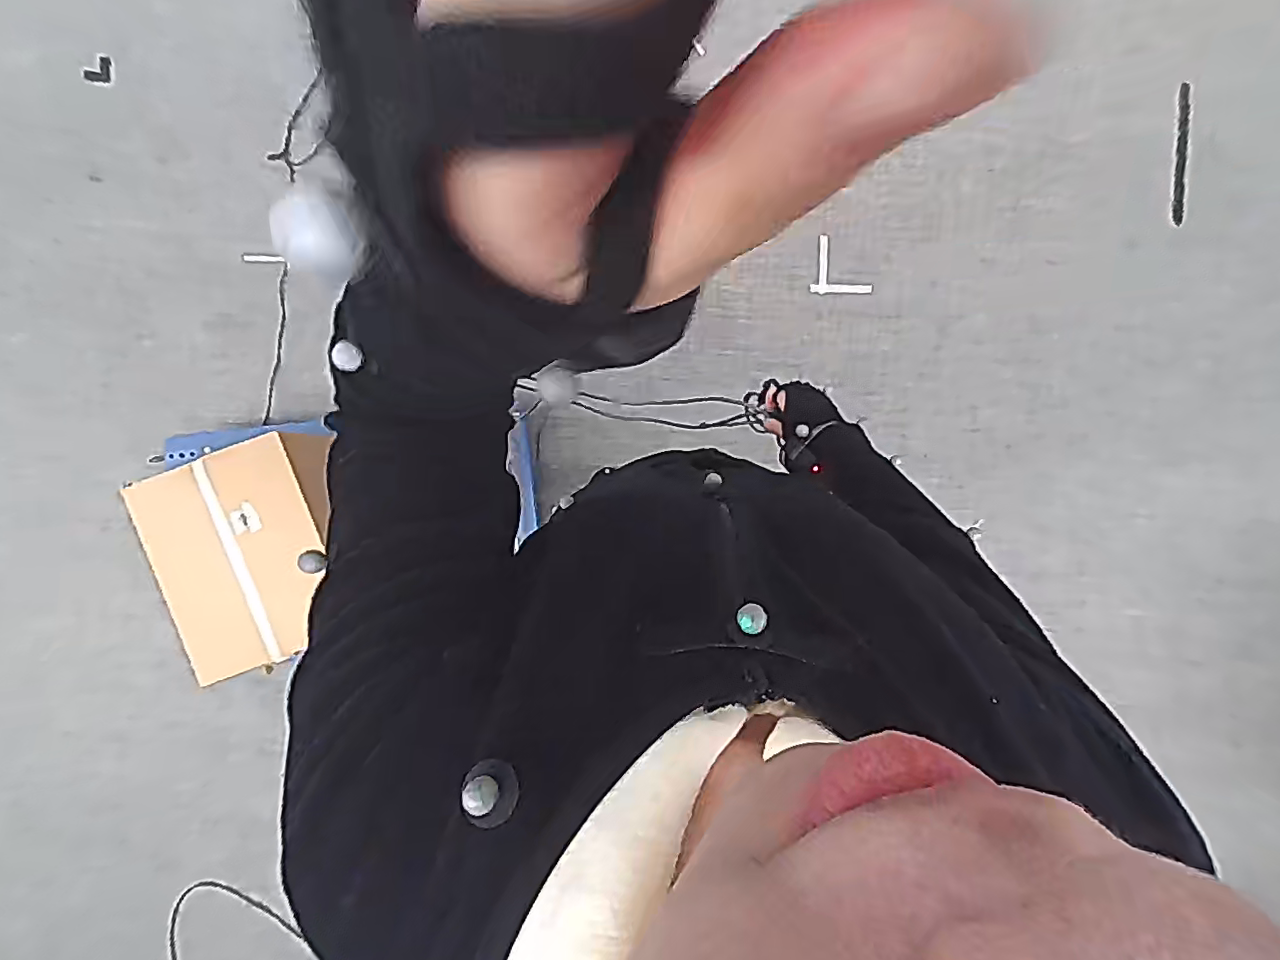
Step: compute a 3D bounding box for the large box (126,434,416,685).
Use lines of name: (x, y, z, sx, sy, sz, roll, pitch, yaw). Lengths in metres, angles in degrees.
large box: (-0.750, 0.150, 1.162, 0.320, 0.320, 0.408, -21, 91, -1)
